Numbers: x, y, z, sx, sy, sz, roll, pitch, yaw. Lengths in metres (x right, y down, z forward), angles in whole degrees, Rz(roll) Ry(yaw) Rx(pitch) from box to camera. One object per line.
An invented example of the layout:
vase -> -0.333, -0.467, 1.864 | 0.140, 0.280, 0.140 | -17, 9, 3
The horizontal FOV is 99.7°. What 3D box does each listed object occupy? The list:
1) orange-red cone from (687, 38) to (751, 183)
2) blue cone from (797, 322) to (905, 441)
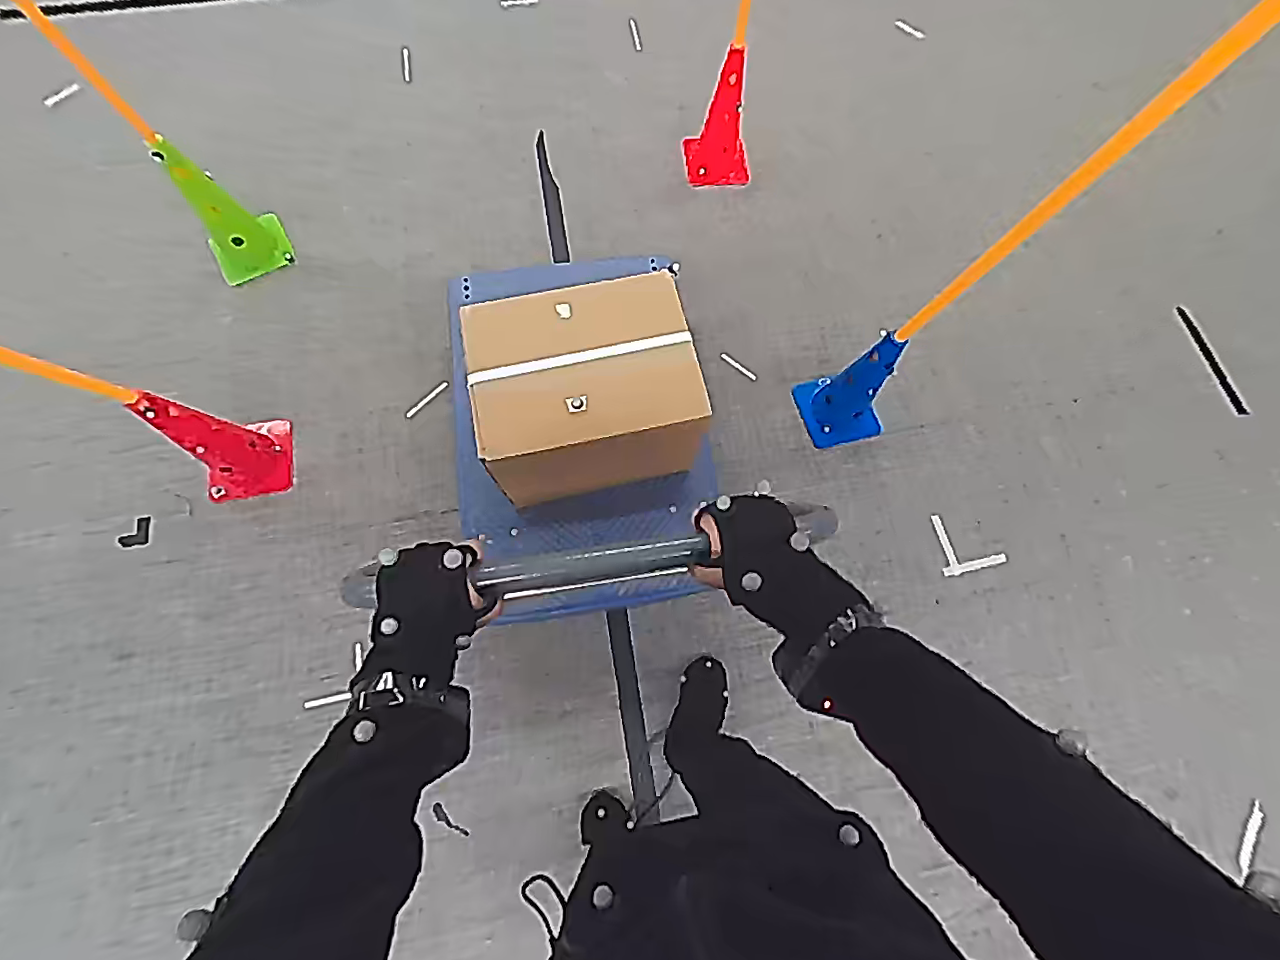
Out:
orange-red cone -> 0.261, -1.086, 1.573 | 0.199, 0.360, 0.198 | -3, 73, -4
blue cone -> 0.549, -0.256, 1.333 | 0.193, 0.380, 0.192 | -13, 72, -7
